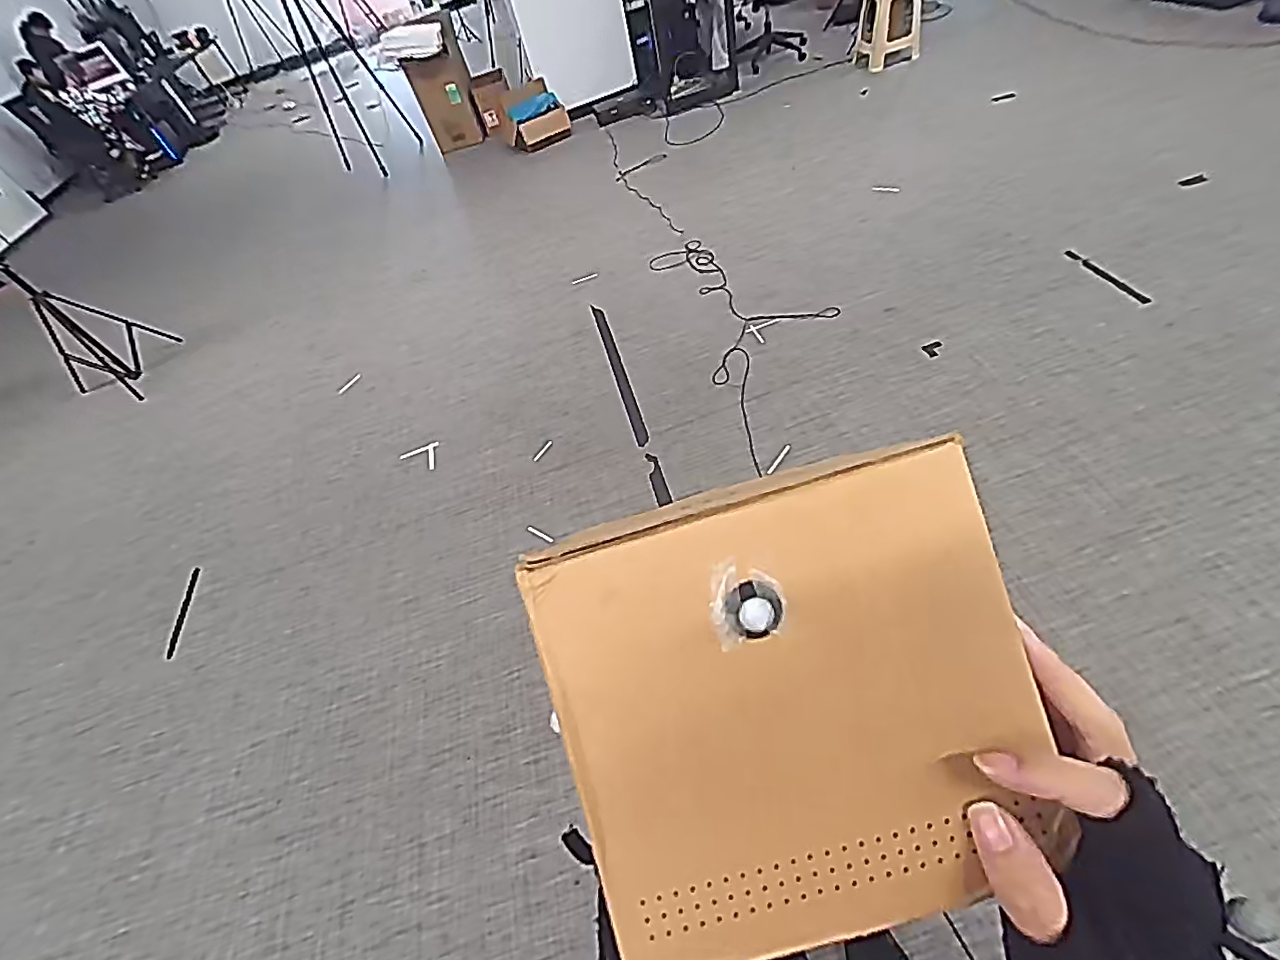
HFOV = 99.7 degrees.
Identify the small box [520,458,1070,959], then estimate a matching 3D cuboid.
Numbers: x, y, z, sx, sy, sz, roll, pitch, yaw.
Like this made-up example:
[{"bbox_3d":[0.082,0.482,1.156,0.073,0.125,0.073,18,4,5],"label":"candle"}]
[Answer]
[{"bbox_3d":[0.063,0.098,0.280,0.179,0.168,0.176,-16,88,2],"label":"small box"}]
